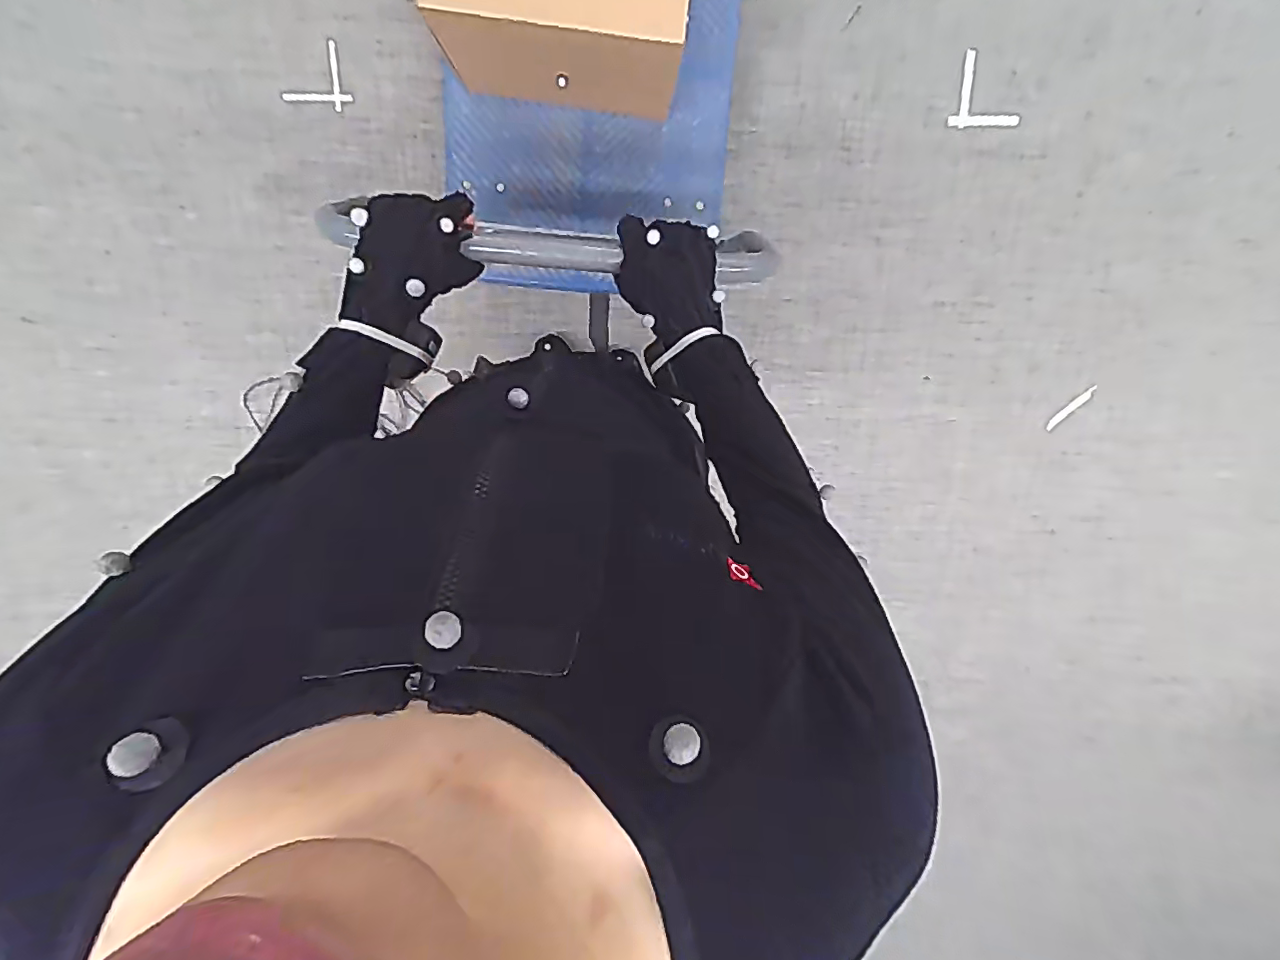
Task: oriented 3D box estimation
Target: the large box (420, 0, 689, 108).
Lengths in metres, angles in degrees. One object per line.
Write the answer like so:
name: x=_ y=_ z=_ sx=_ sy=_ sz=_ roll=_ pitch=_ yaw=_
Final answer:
large box: x=-0.120 y=-0.874 z=0.913 sx=0.408 sy=0.320 sz=0.320 roll=5 pitch=106 yaw=-4
